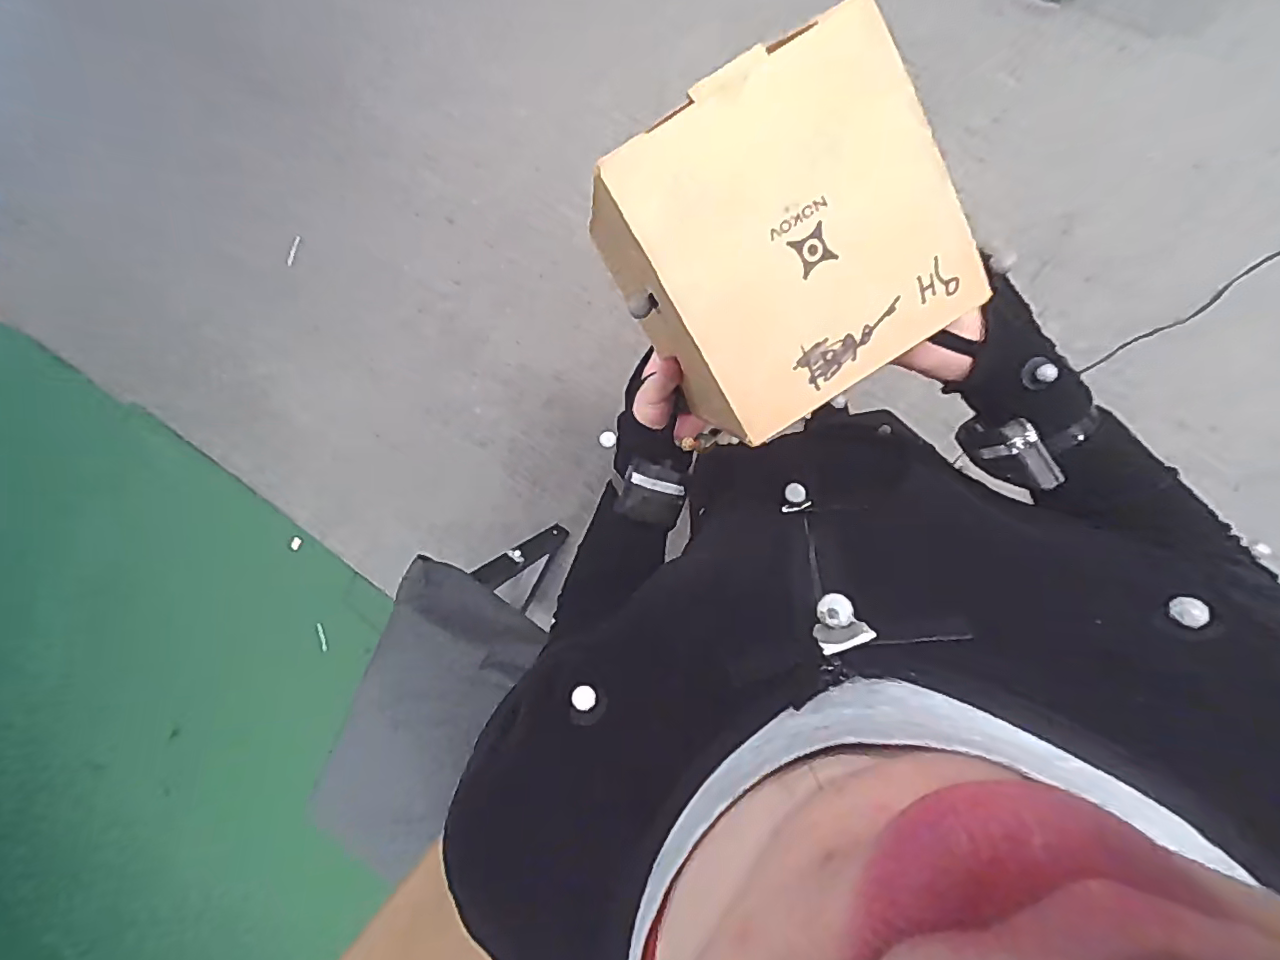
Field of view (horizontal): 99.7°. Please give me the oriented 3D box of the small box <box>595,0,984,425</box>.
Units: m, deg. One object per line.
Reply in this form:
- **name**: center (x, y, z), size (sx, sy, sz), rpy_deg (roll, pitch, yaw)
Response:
- **small box**: center (0.079, -0.159, 0.372), size (0.168, 0.176, 0.179), rpy_deg (-32, 104, 2)
